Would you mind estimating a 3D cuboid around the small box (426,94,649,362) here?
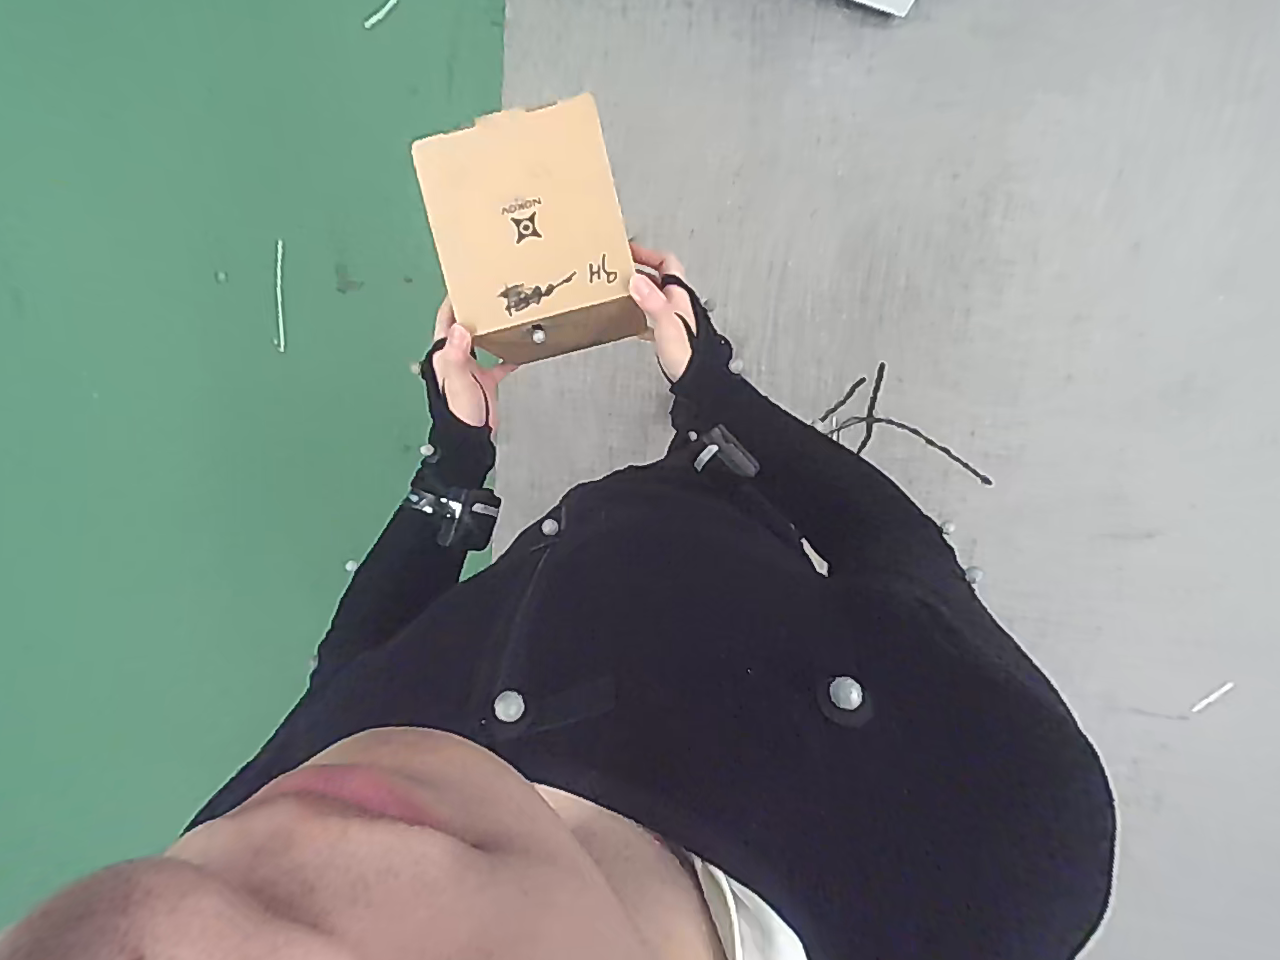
[{"bbox_3d":[-0.088,-0.233,0.548,0.168,0.176,0.179,-12,92,3],"label":"small box"}]
